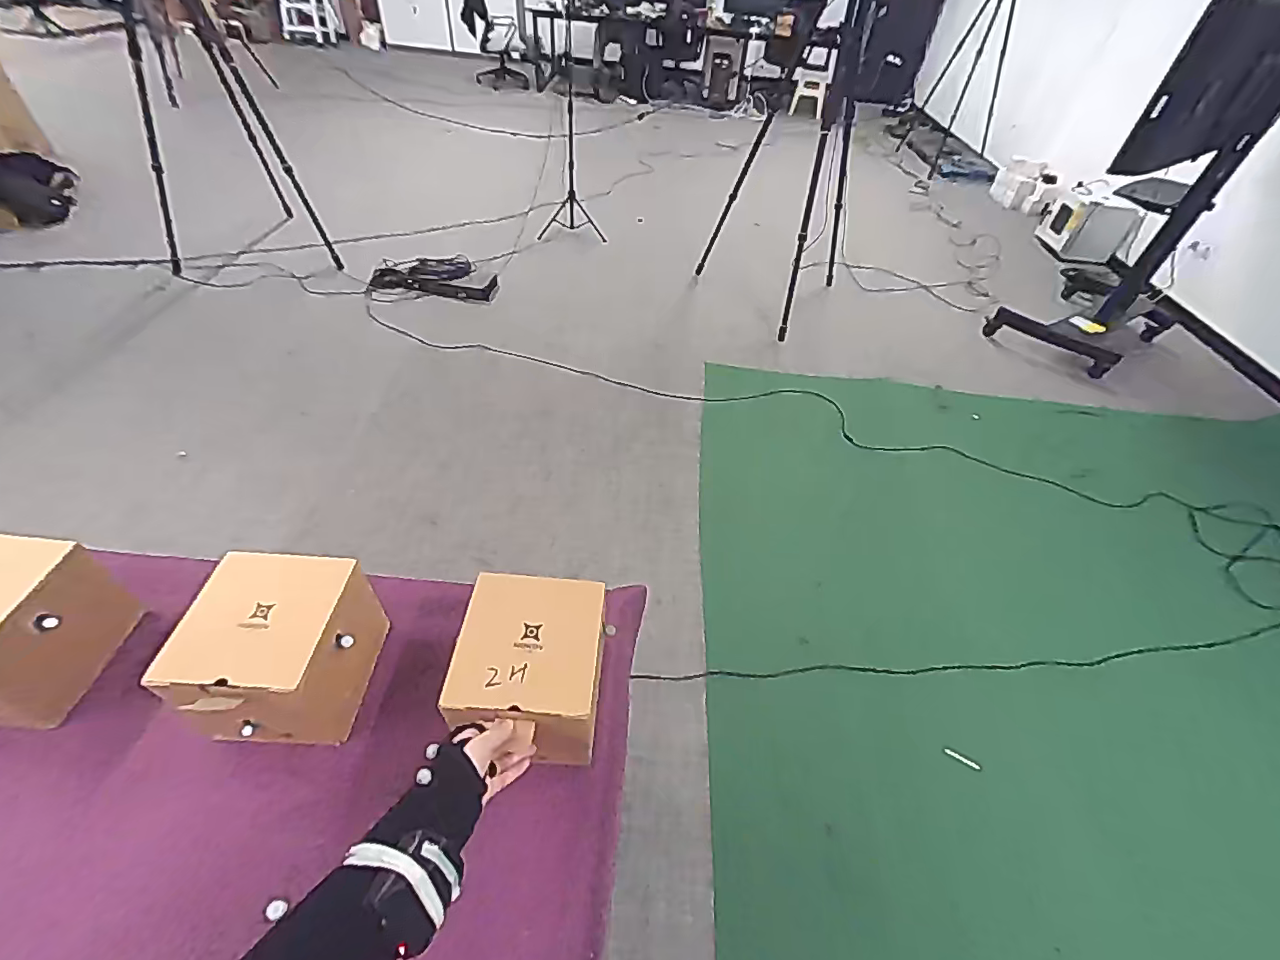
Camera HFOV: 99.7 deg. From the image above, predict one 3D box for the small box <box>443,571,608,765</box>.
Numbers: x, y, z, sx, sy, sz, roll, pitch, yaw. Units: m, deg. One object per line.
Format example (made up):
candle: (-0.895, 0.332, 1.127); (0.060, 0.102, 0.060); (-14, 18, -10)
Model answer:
small box: (-0.133, 0.242, 0.698); (0.168, 0.176, 0.179); (5, 46, 1)

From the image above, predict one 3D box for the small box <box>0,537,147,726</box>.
small box: (-0.799, 0.193, 0.687); (0.168, 0.176, 0.179); (6, 46, -1)

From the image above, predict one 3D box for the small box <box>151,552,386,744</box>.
small box: (-0.451, 0.217, 0.698); (0.168, 0.176, 0.179); (4, 46, -2)
